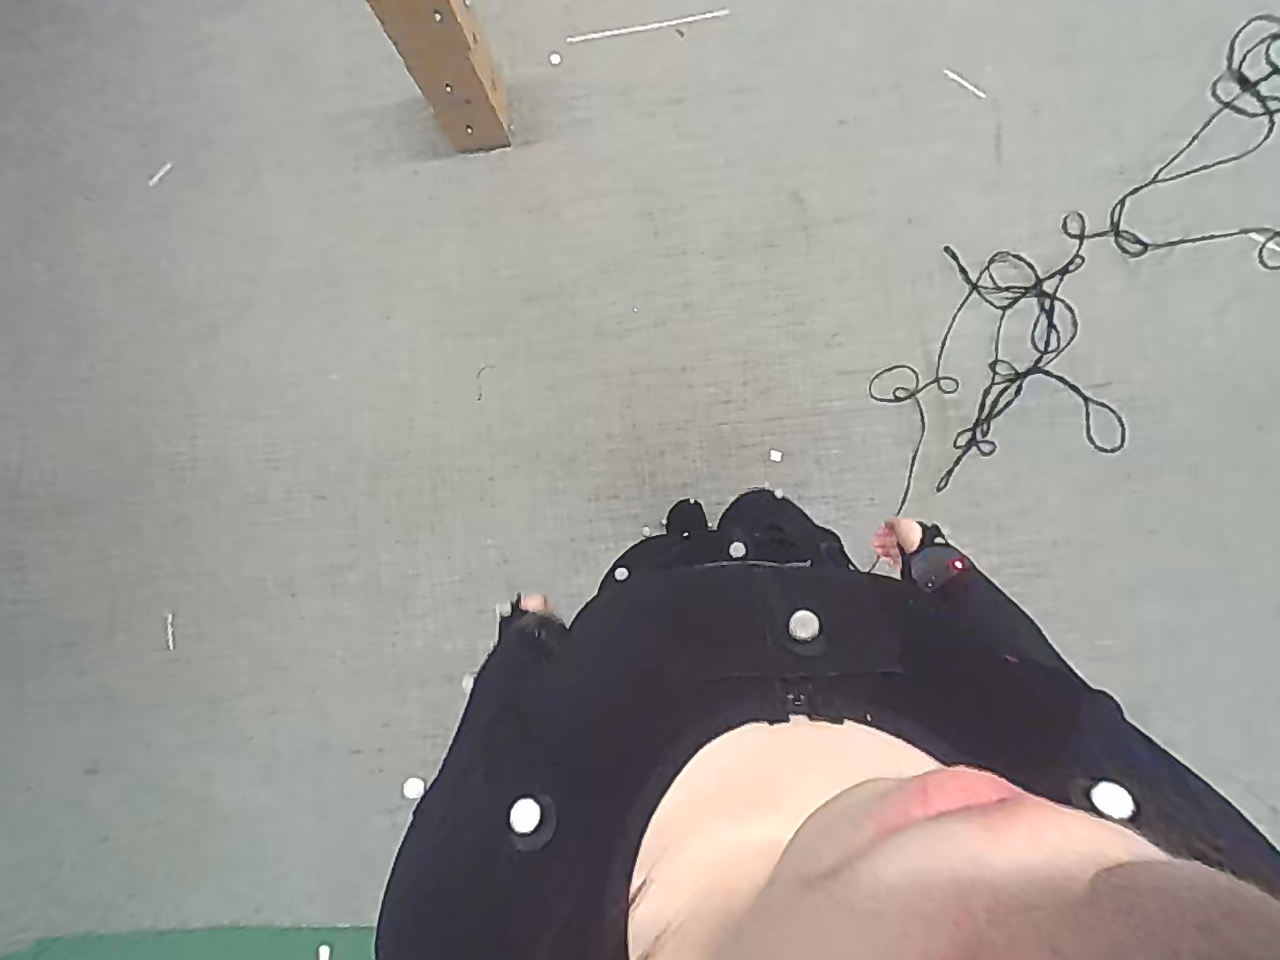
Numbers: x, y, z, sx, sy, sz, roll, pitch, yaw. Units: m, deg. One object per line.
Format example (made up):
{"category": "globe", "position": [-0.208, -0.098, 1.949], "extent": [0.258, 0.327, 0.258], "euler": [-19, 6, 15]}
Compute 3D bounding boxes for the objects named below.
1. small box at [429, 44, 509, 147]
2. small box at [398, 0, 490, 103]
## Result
{"category": "small box", "position": [-0.474, -1.069, 1.511], "extent": [0.179, 0.176, 0.168], "euler": [-5, 88, 5]}
{"category": "small box", "position": [-0.481, -1.077, 1.347], "extent": [0.168, 0.176, 0.179], "euler": [-4, 88, 4]}
